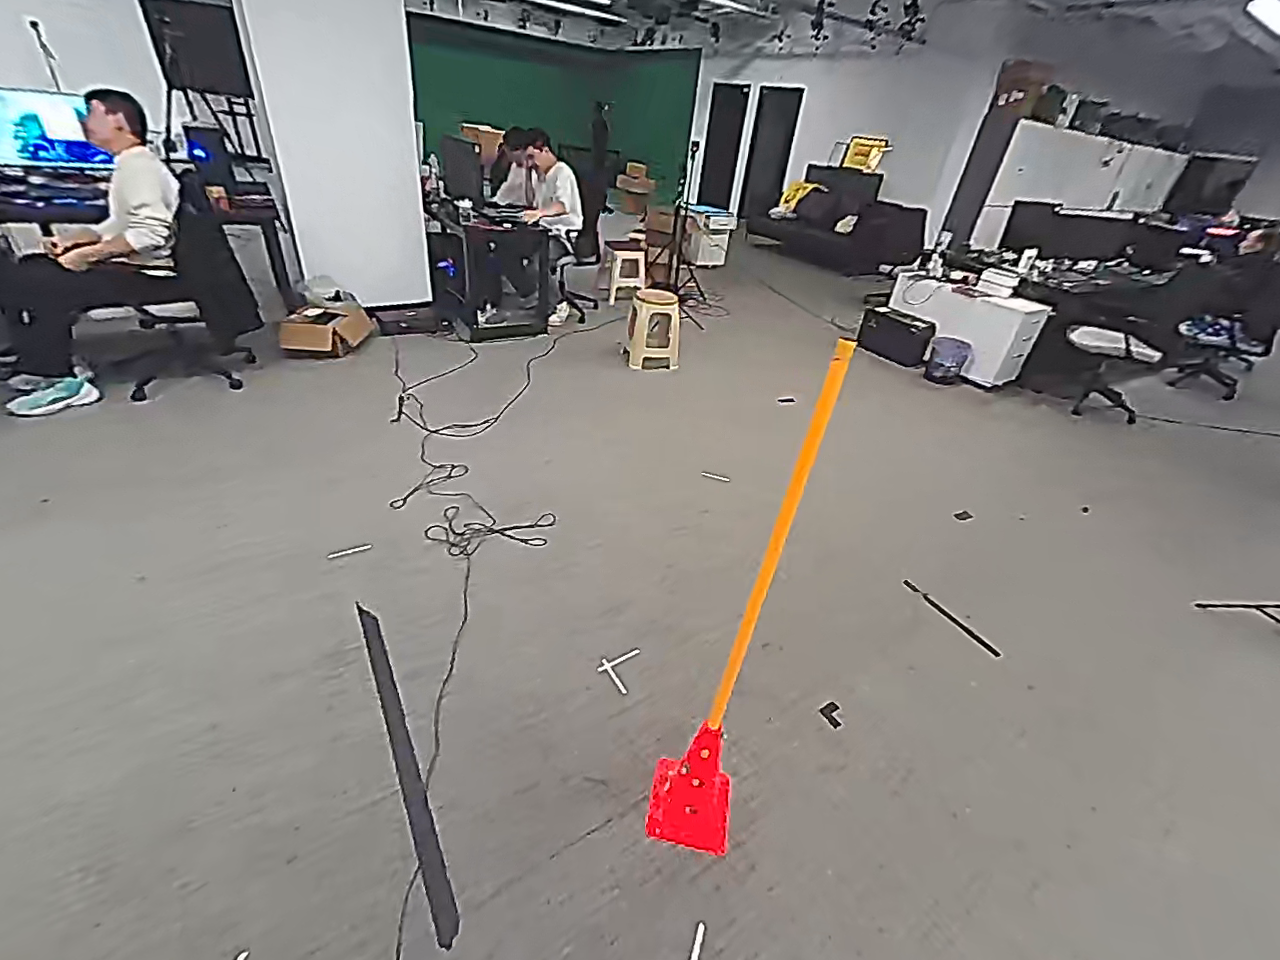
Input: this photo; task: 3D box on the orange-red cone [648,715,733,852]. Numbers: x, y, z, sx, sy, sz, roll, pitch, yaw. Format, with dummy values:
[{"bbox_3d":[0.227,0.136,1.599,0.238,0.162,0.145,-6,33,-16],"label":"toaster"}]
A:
[{"bbox_3d":[0.146,0.670,1.265,0.198,0.360,0.199,12,35,8],"label":"orange-red cone"}]
